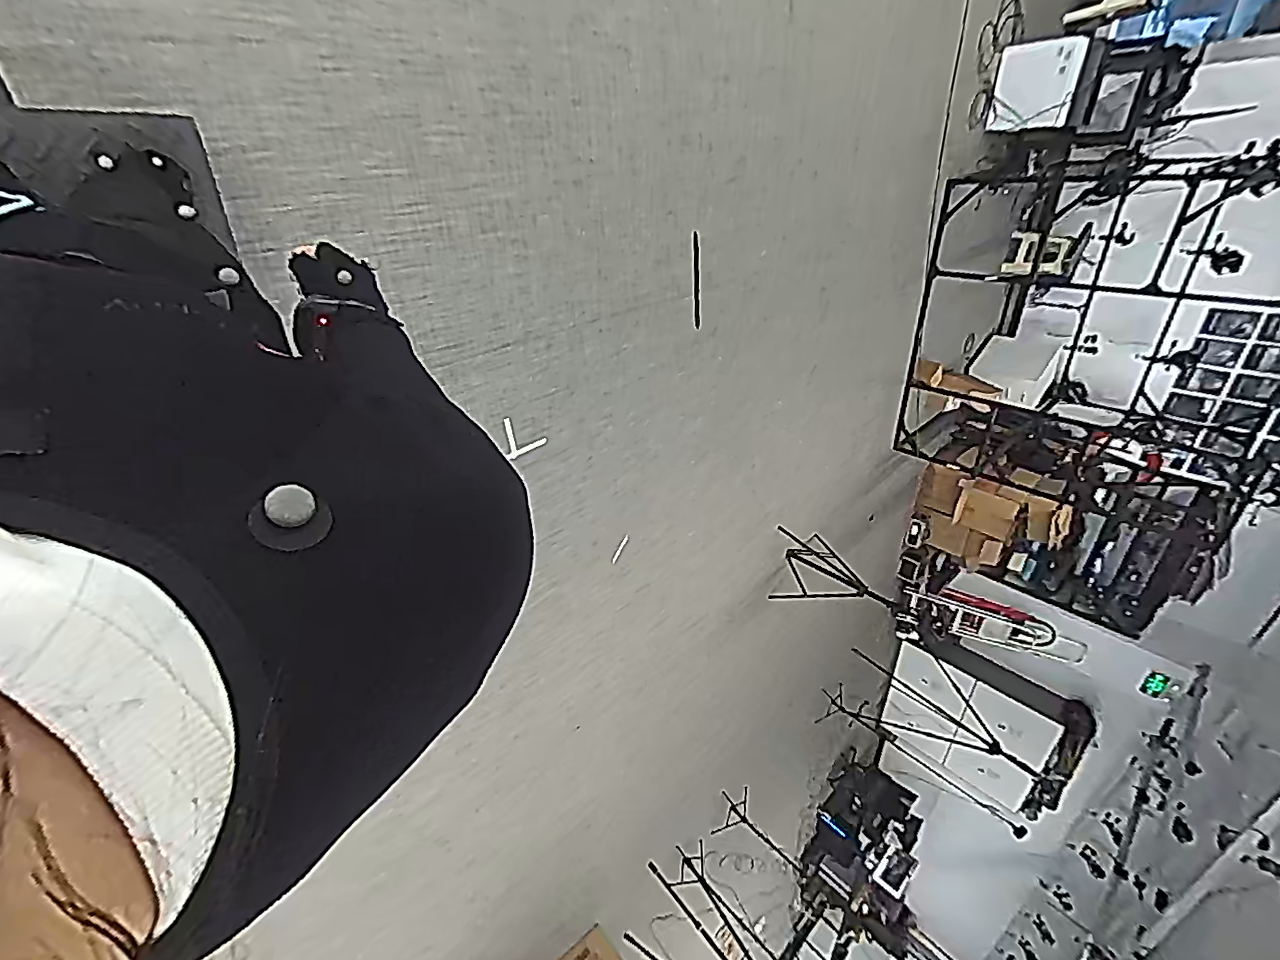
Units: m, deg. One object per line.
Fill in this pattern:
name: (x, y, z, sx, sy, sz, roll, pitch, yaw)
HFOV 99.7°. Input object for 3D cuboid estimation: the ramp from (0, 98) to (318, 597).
ramp: (-1.057, -0.198, 1.134, 0.509, 0.206, 0.991, -28, 129, -36)
